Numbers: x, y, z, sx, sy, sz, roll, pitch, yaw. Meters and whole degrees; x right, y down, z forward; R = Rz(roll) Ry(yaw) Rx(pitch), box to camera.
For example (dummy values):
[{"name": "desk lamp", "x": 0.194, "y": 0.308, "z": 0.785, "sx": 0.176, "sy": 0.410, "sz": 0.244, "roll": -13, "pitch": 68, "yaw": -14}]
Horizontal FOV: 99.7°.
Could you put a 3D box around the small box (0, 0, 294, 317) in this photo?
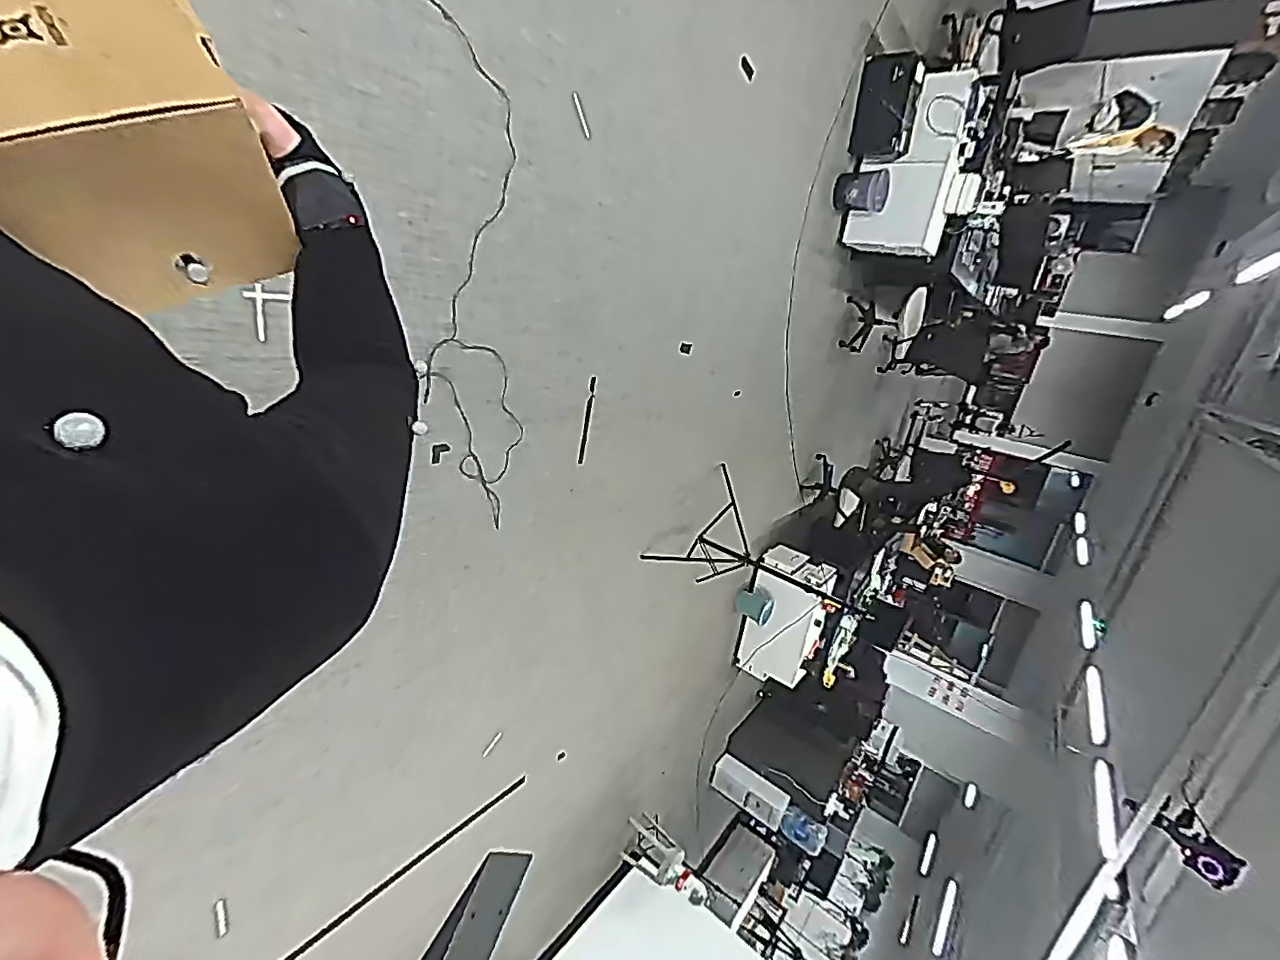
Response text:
[{"name": "small box", "x": -0.413, "y": -0.265, "z": 0.435, "sx": 0.179, "sy": 0.168, "sz": 0.176, "roll": -31, "pitch": 172, "yaw": -25}]
